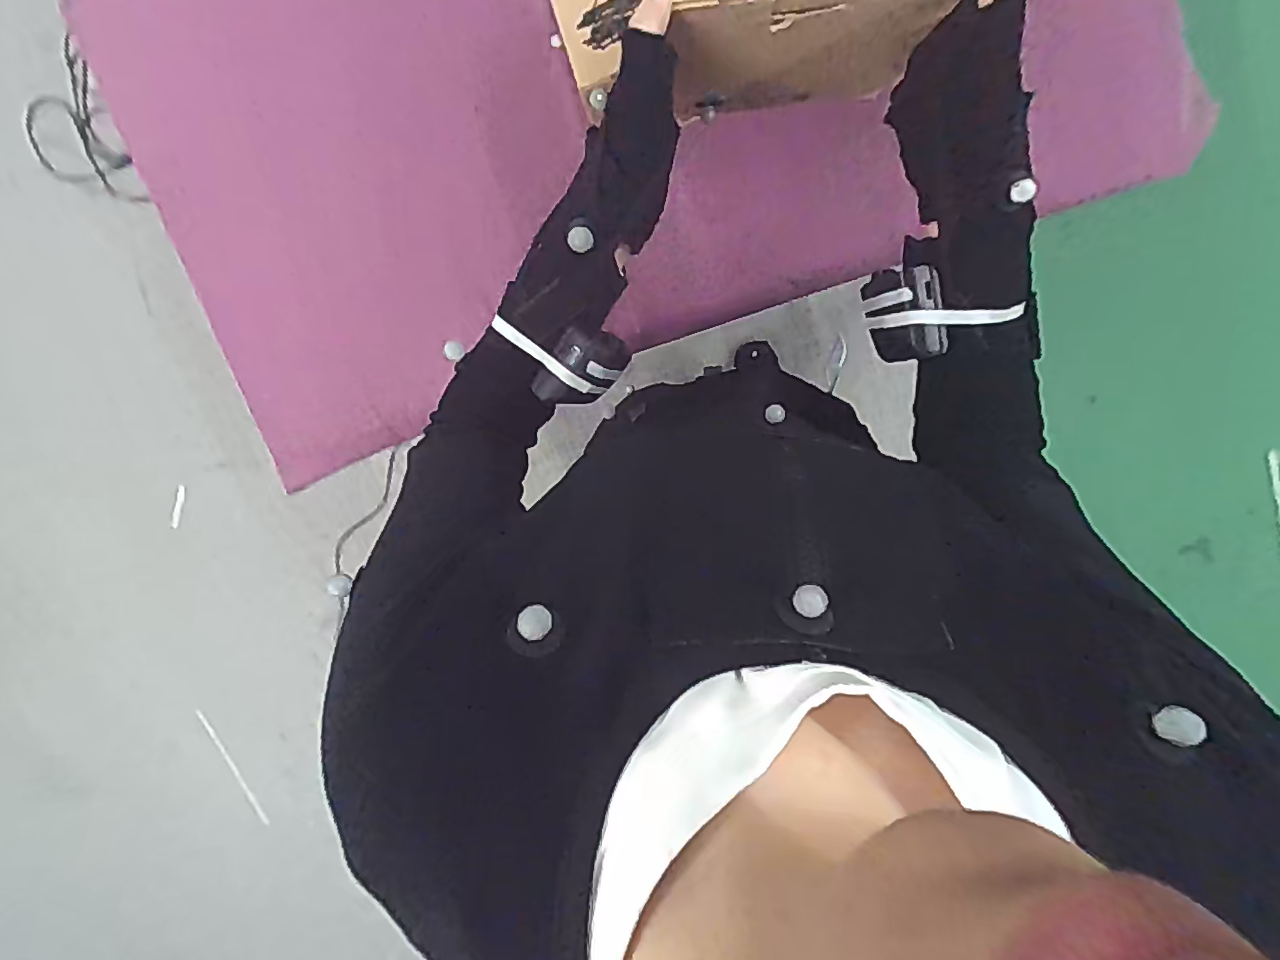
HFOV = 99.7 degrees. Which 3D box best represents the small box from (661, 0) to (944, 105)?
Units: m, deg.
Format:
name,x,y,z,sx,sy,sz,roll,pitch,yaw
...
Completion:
name,x,y,z,sx,sy,sz,roll,pitch,yaw
small box,0.094,-0.352,0.325,0.168,0.176,0.179,-2,107,4
